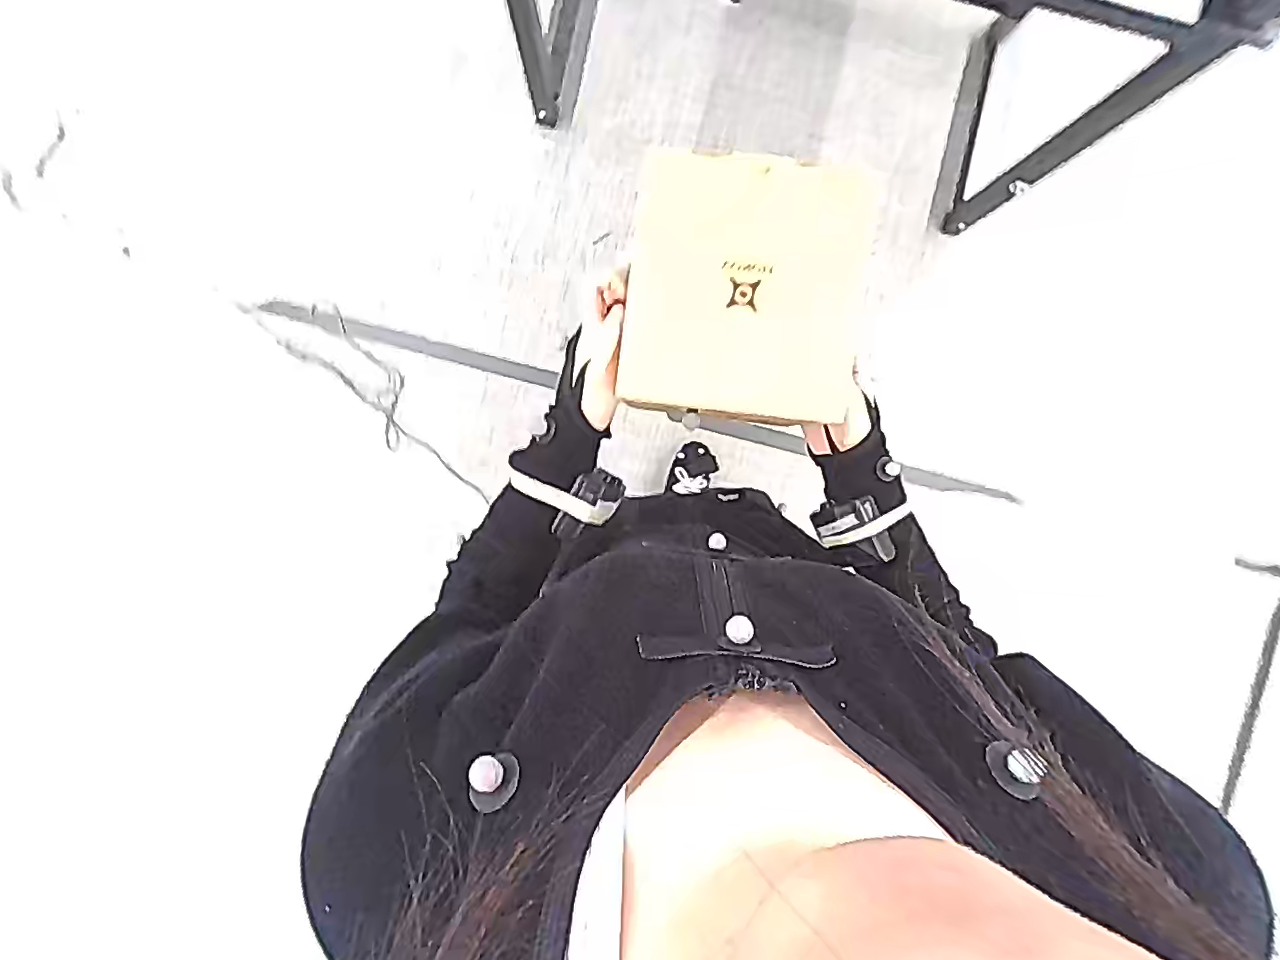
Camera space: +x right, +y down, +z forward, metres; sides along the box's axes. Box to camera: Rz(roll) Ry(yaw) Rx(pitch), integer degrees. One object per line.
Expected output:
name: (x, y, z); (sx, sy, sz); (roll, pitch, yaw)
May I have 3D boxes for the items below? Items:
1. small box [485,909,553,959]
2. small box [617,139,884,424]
small box: (-0.342, 1.335, 1.474); (0.168, 0.176, 0.179); (17, 92, -4)
small box: (0.078, -0.144, 0.455); (0.168, 0.176, 0.179); (7, 93, 1)
